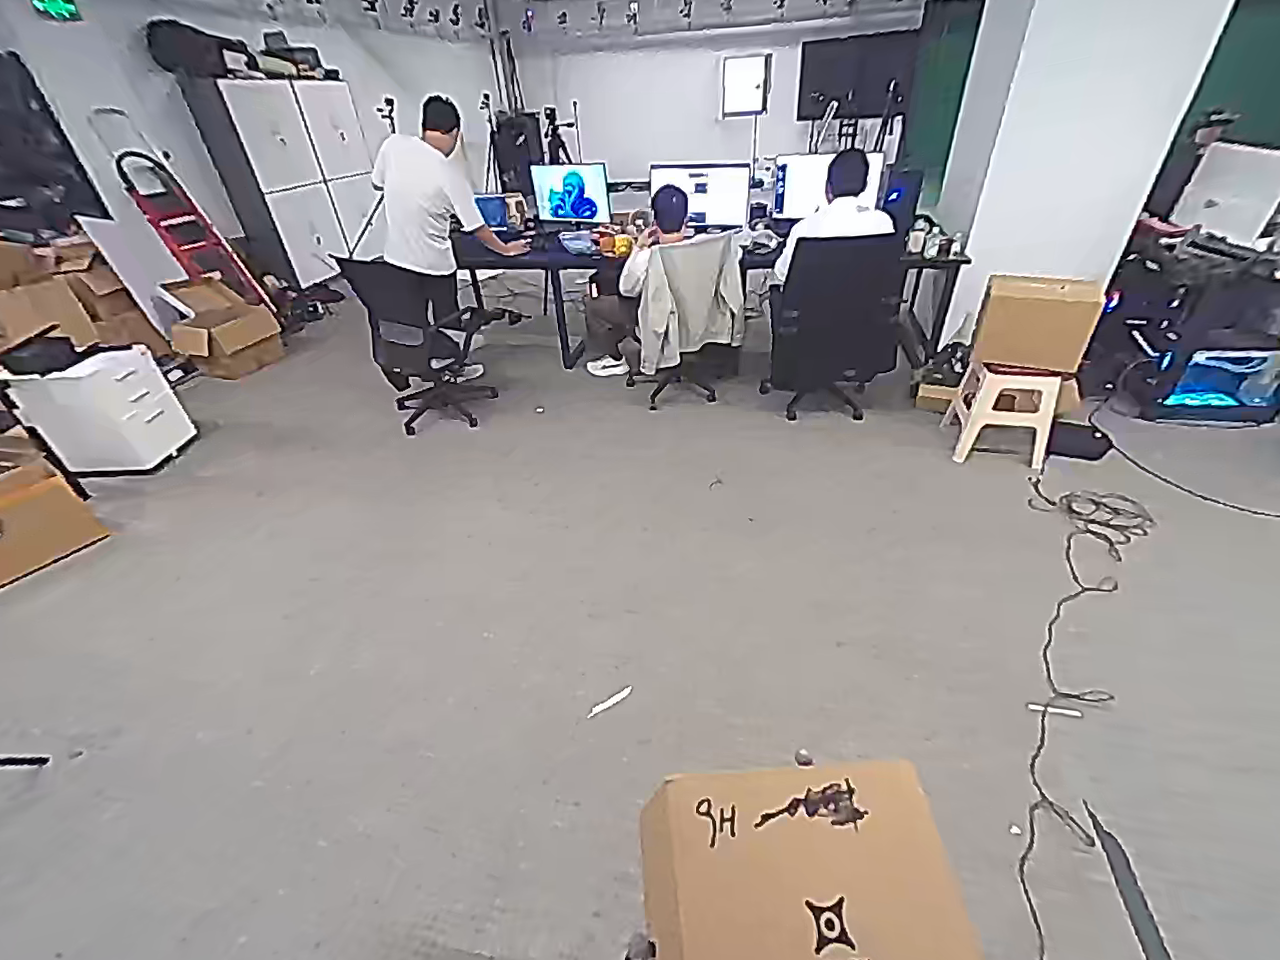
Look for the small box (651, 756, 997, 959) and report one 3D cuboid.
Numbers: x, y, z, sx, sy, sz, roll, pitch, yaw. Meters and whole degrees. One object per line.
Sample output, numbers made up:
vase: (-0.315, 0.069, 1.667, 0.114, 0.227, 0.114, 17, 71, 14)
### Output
small box: (0.101, 0.293, 0.352, 0.168, 0.176, 0.179, 1, 53, -7)
